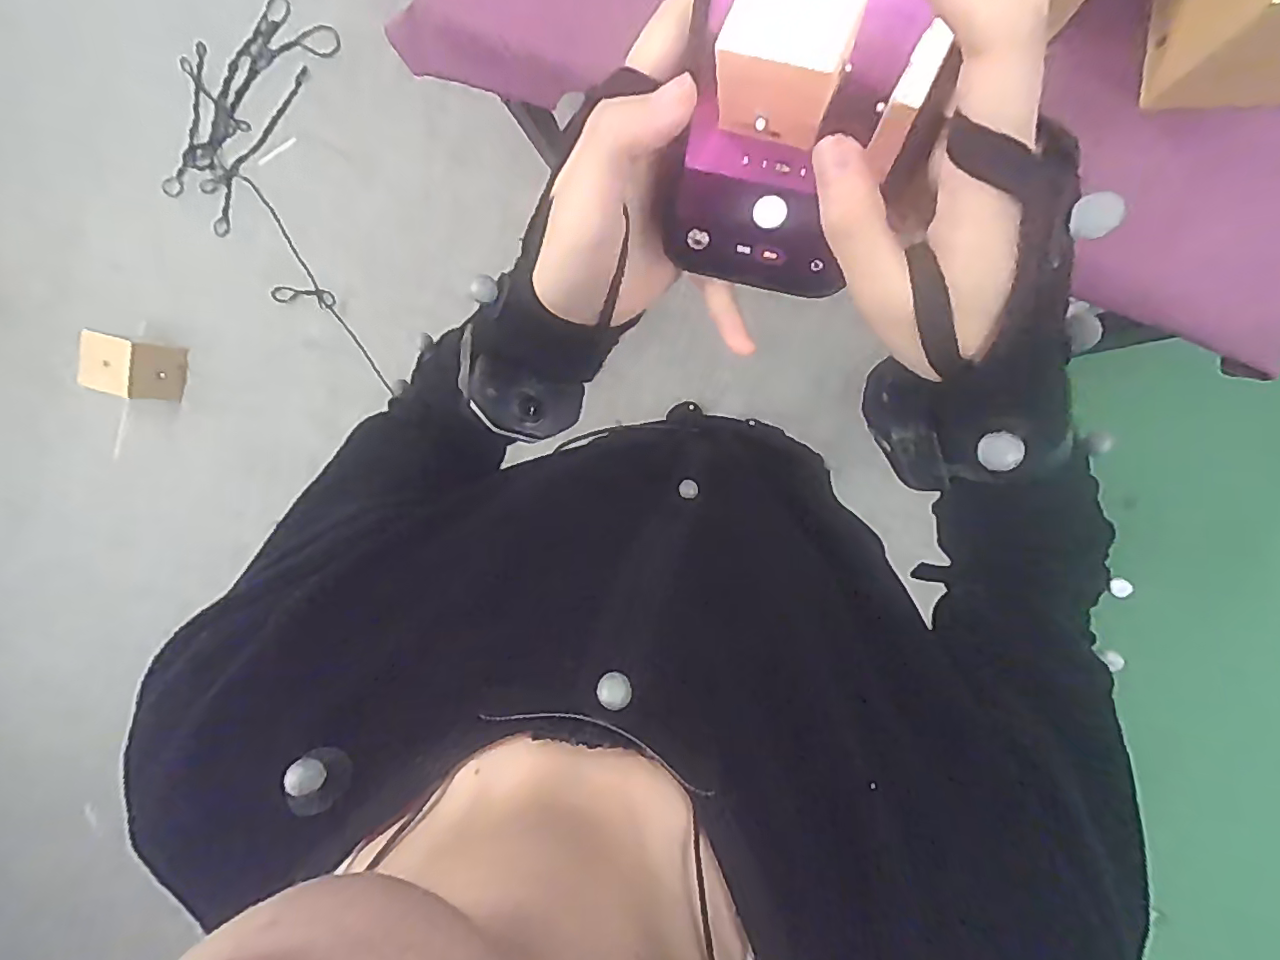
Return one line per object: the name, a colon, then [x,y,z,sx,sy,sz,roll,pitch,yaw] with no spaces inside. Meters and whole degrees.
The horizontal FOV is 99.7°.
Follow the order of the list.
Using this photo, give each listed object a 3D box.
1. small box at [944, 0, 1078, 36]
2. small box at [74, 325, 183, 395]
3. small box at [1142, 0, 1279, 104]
small box: [0.431,-0.622,0.562,0.179,0.176,0.168,28,100,5]
small box: [-1.531,-0.355,1.626,0.179,0.176,0.168,16,99,7]
small box: [0.662,-0.507,0.538,0.179,0.176,0.168,4,96,9]
